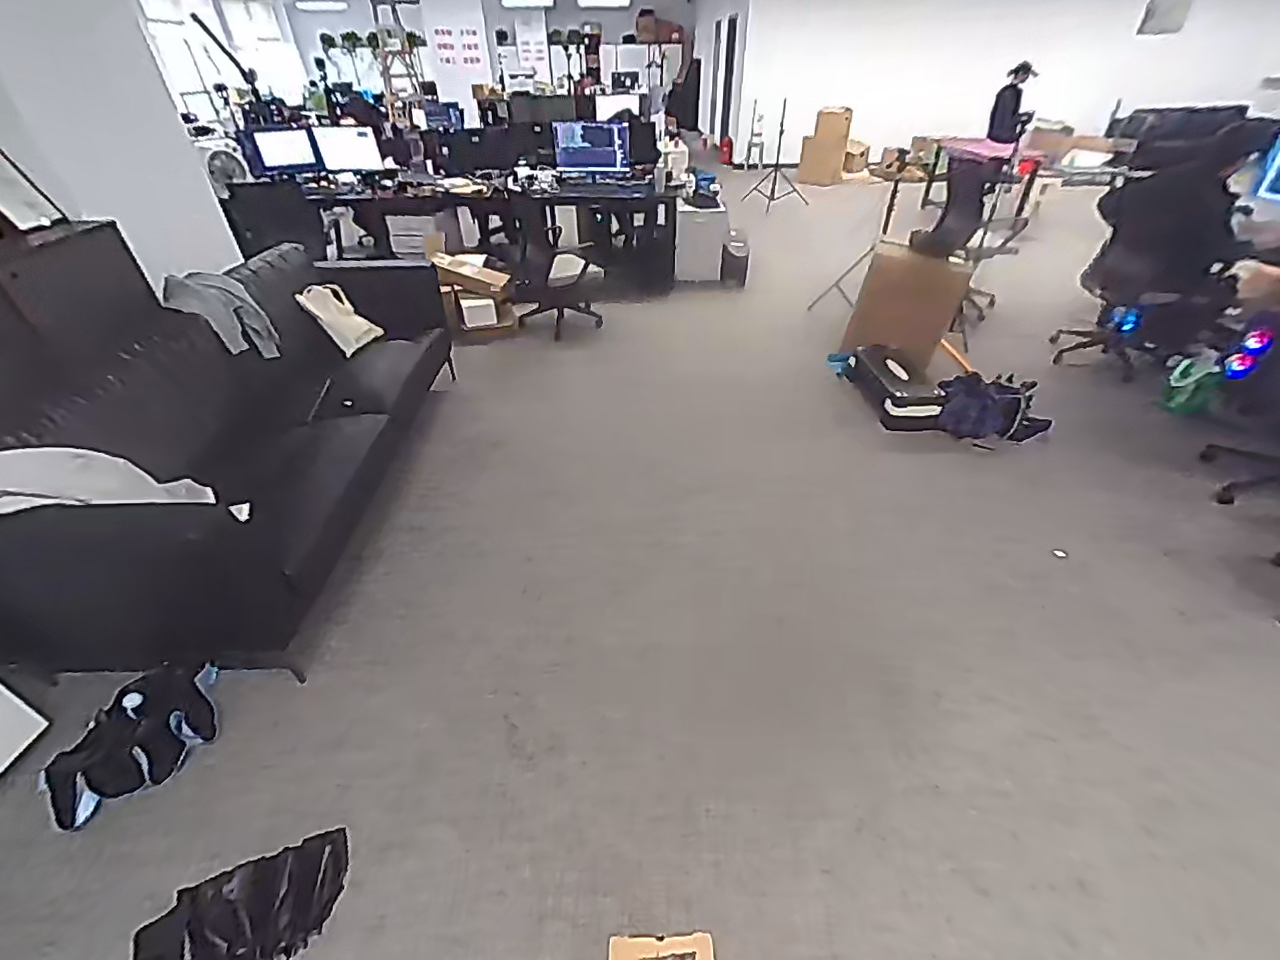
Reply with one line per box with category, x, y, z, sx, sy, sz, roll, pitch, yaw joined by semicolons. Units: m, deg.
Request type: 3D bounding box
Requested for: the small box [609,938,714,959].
small box;0.033;0.840;0.834;0.168;0.176;0.179;-2;41;-1
